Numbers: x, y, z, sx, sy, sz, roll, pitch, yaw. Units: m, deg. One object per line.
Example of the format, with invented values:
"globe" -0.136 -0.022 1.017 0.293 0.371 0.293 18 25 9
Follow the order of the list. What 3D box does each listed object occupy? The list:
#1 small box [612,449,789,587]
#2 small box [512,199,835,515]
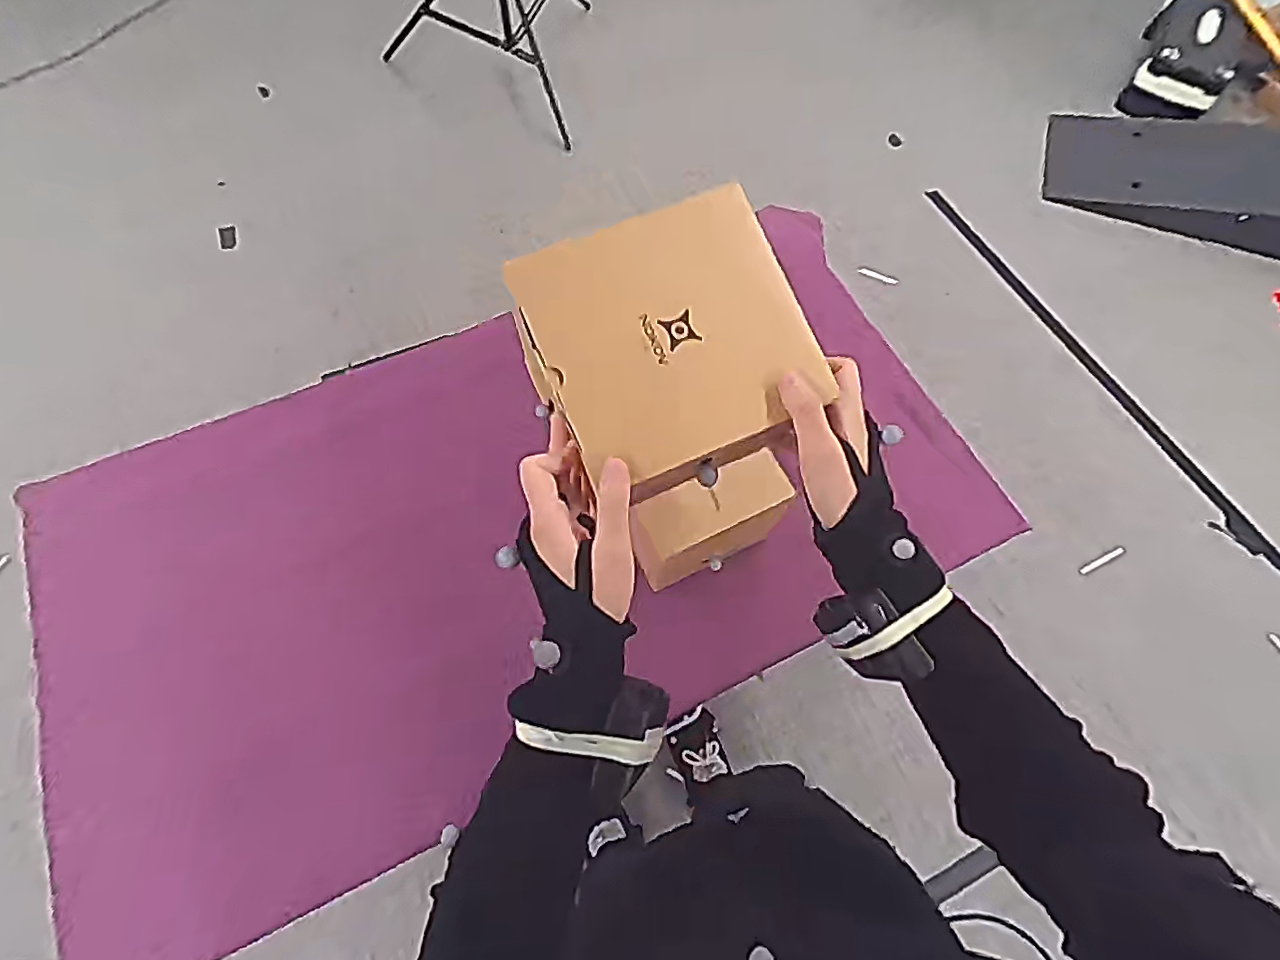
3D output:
"small box" 0.050 0.010 0.668 0.168 0.176 0.179 -24 70 -10
"small box" 0.016 -0.081 0.438 0.179 0.176 0.168 -23 84 -7
